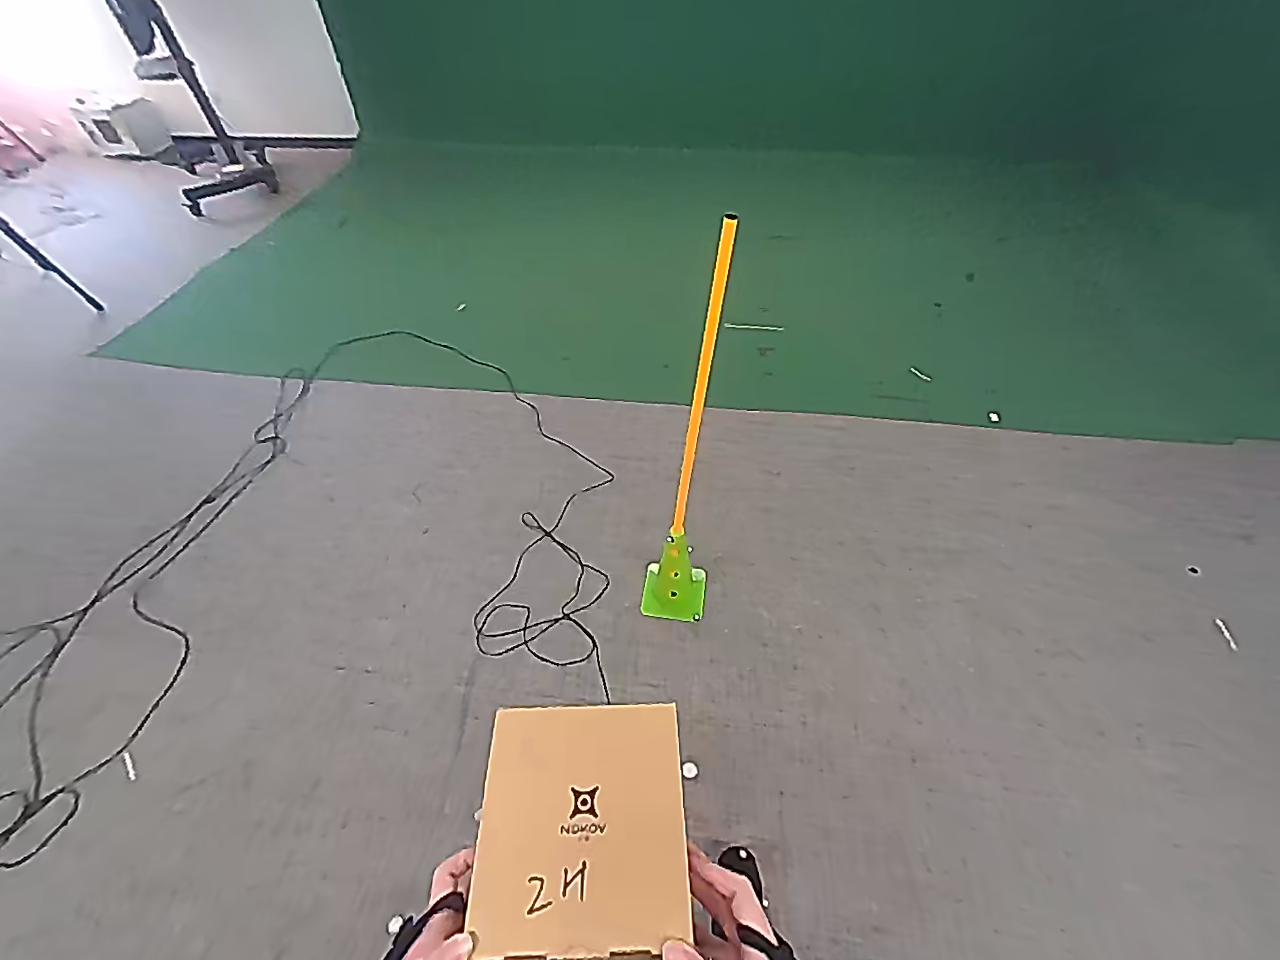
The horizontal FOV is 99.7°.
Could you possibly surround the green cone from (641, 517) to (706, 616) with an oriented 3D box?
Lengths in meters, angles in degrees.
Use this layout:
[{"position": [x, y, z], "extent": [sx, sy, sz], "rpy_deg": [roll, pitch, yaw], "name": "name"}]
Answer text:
[{"position": [0.105, 0.237, 1.655], "extent": [0.202, 0.368, 0.200], "rpy_deg": [5, 49, 8], "name": "green cone"}]
